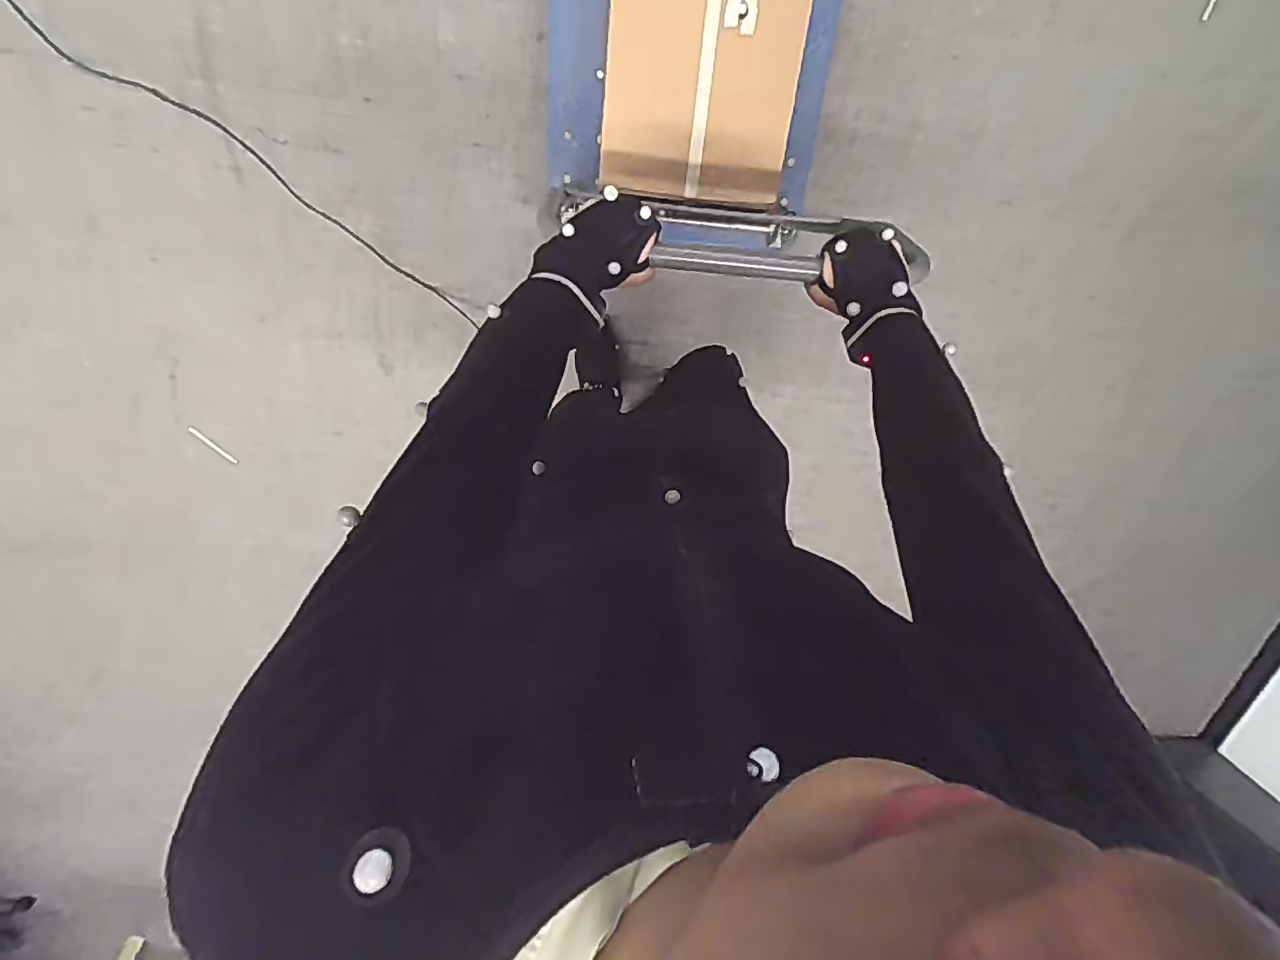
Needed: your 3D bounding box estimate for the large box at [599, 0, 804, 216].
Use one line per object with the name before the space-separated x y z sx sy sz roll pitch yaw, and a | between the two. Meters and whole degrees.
large box | 0.090 -0.735 1.015 0.320 0.320 0.408 4 113 -6
